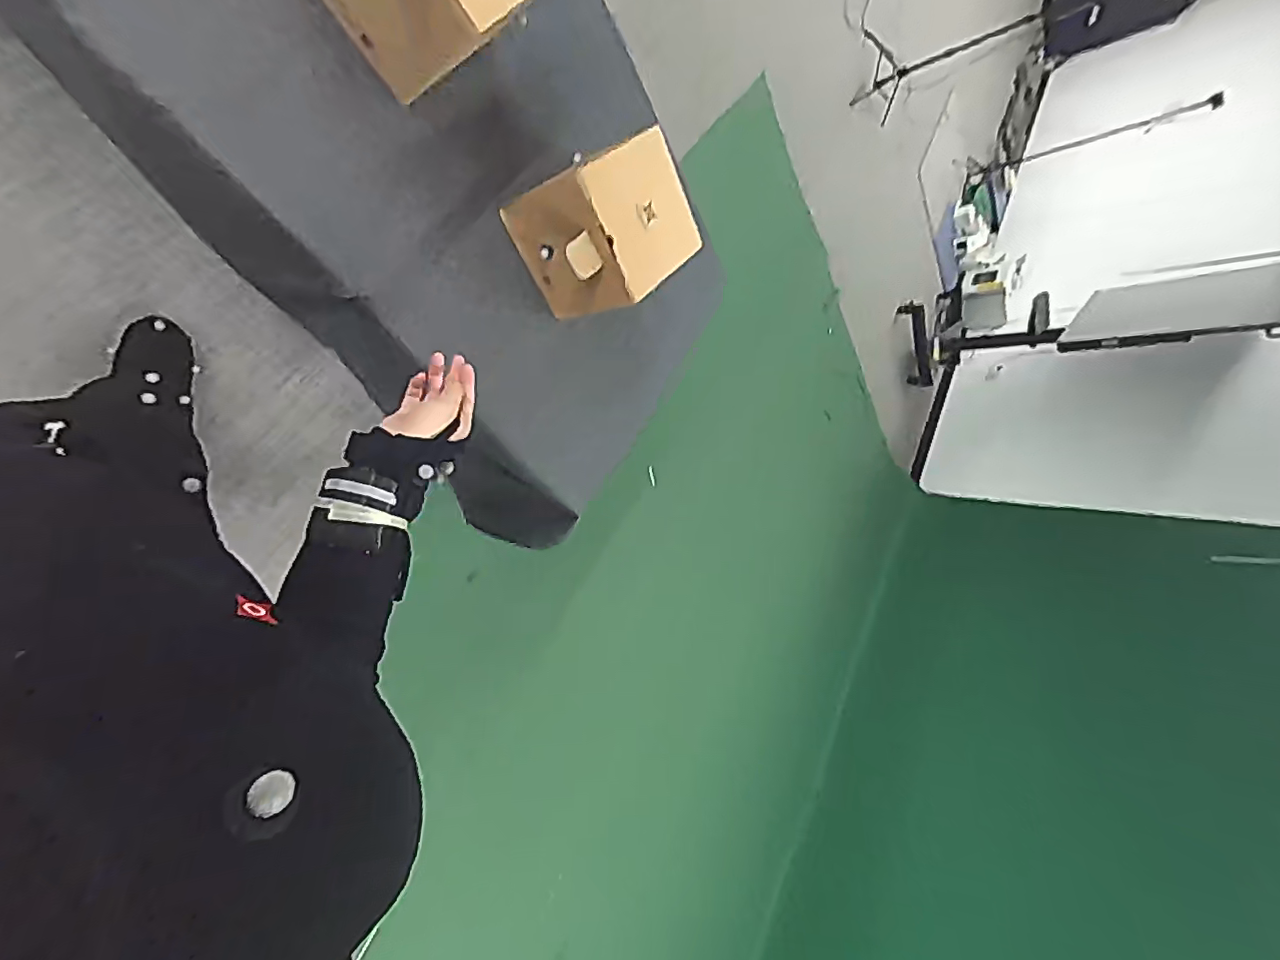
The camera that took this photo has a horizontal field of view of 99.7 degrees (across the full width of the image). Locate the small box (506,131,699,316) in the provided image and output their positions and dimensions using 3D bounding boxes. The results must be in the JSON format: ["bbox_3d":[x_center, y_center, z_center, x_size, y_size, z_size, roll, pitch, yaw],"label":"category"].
[{"bbox_3d":[-0.051,-0.351,0.759,0.179,0.176,0.168,-50,127,-31],"label":"small box"}]
